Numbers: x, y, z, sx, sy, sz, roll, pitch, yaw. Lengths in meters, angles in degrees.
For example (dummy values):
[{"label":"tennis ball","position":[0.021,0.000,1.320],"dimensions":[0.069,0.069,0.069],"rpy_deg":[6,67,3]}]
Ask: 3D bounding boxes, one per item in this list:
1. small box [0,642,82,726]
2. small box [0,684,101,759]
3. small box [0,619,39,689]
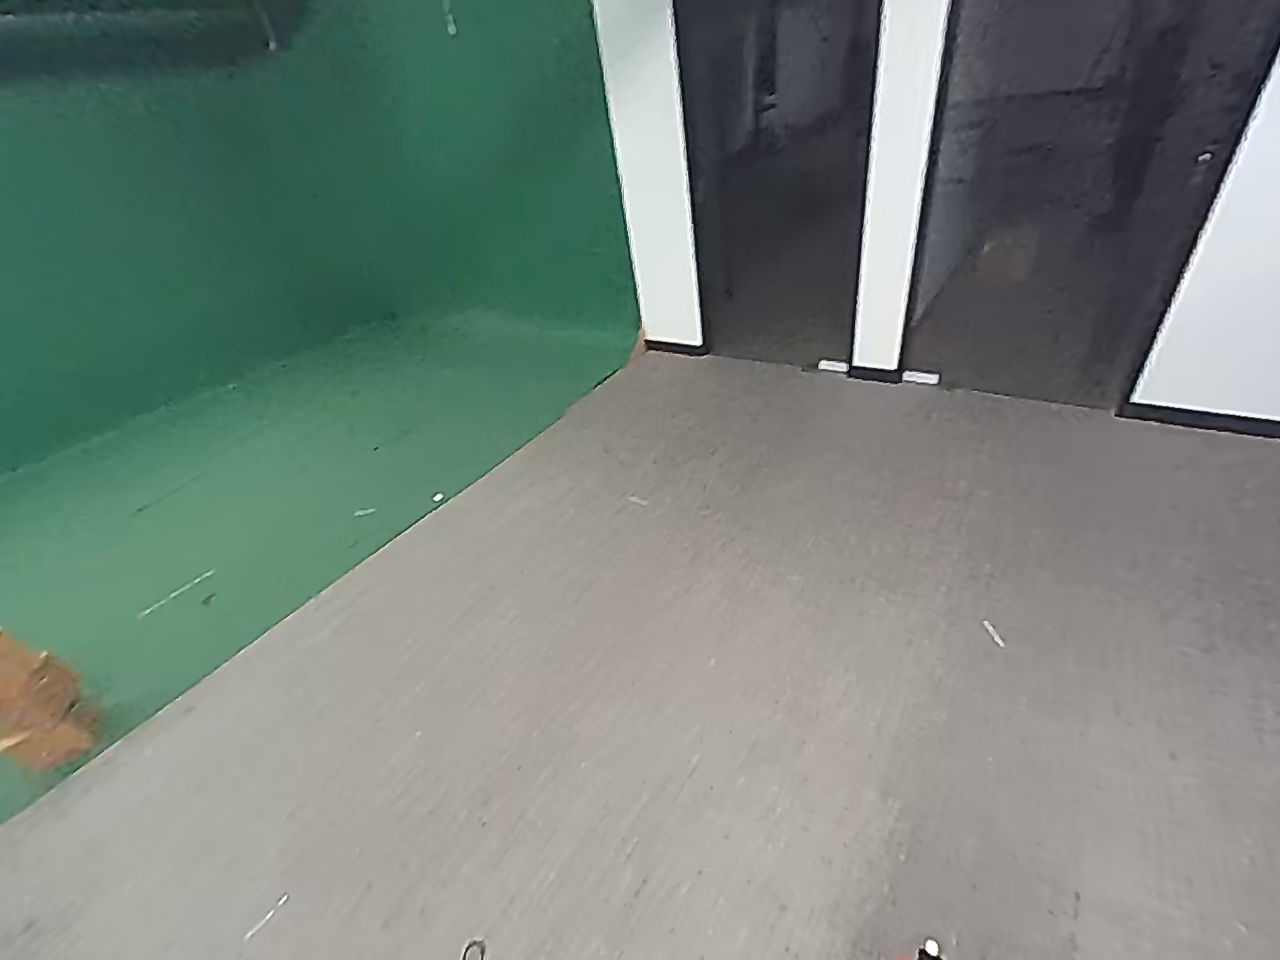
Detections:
[{"label":"small box","position":[-1.973,0.660,1.736],"dimensions":[0.168,0.176,0.179],"rpy_deg":[-15,36,-10]},{"label":"small box","position":[-1.974,0.804,1.818],"dimensions":[0.168,0.176,0.179],"rpy_deg":[-30,41,-25]},{"label":"small box","position":[-2.001,0.534,1.633],"dimensions":[0.168,0.176,0.179],"rpy_deg":[3,39,14]}]
